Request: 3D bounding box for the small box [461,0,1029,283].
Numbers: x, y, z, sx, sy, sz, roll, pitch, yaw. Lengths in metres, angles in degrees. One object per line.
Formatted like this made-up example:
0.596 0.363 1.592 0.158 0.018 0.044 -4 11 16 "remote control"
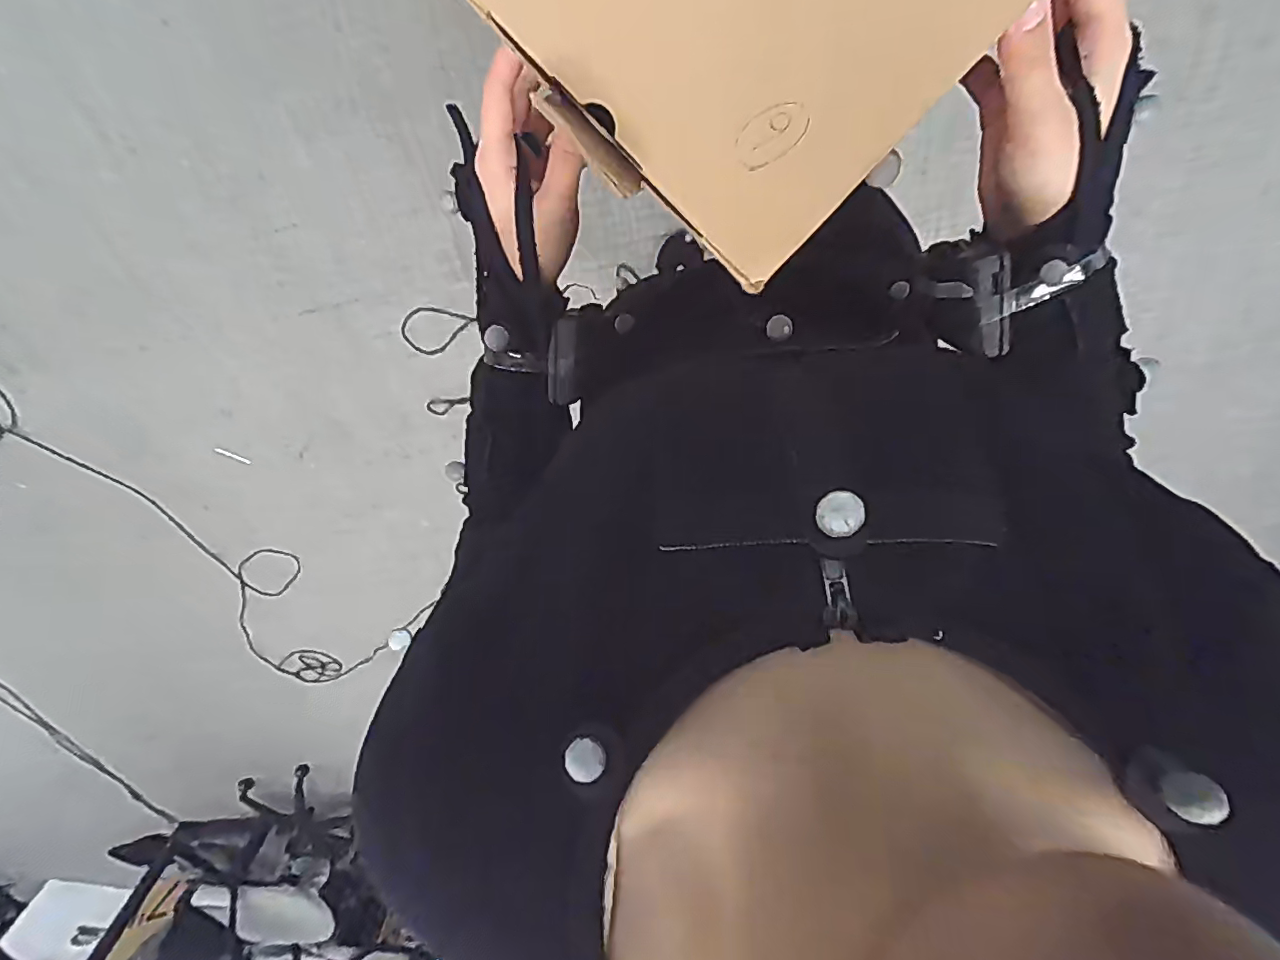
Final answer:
0.058 -0.217 0.244 0.168 0.176 0.179 42 115 -8 "small box"
